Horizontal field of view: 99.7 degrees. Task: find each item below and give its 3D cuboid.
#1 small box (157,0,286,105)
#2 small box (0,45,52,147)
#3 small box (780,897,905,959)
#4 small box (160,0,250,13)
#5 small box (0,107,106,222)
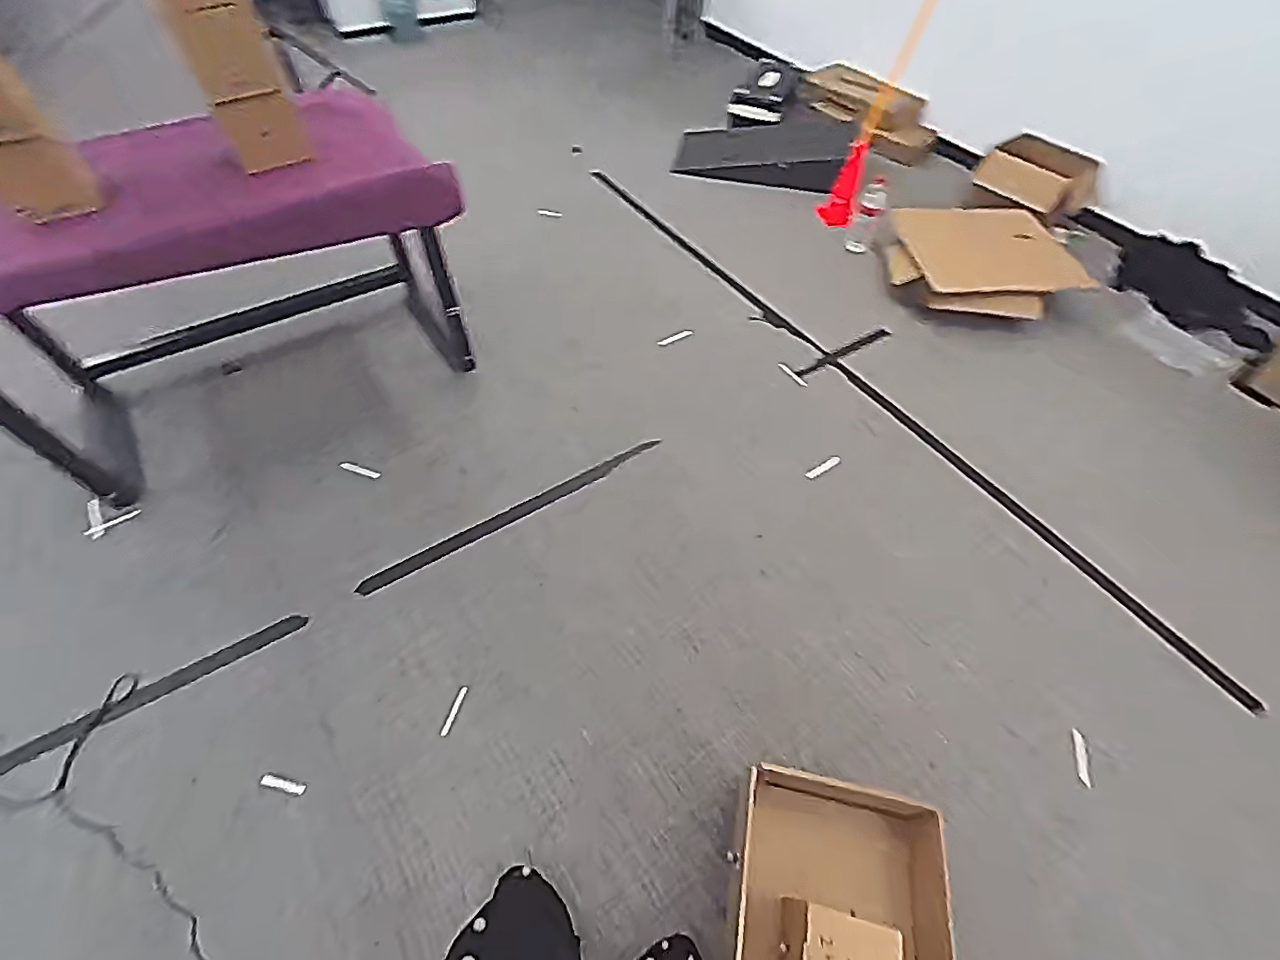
[{"bbox_3d":[-0.972,-1.021,1.273,0.179,0.176,0.168,-32,62,-23],"label":"small box"},{"bbox_3d":[-1.369,-0.803,1.102,0.168,0.176,0.179,-29,62,-20],"label":"small box"},{"bbox_3d":[0.375,0.912,1.020,0.179,0.176,0.168,14,55,7],"label":"small box"},{"bbox_3d":[-0.972,-1.120,1.143,0.179,0.176,0.168,-32,62,-22],"label":"small box"},{"bbox_3d":[-1.384,-0.716,1.239,0.168,0.176,0.179,-28,60,-21],"label":"small box"}]
